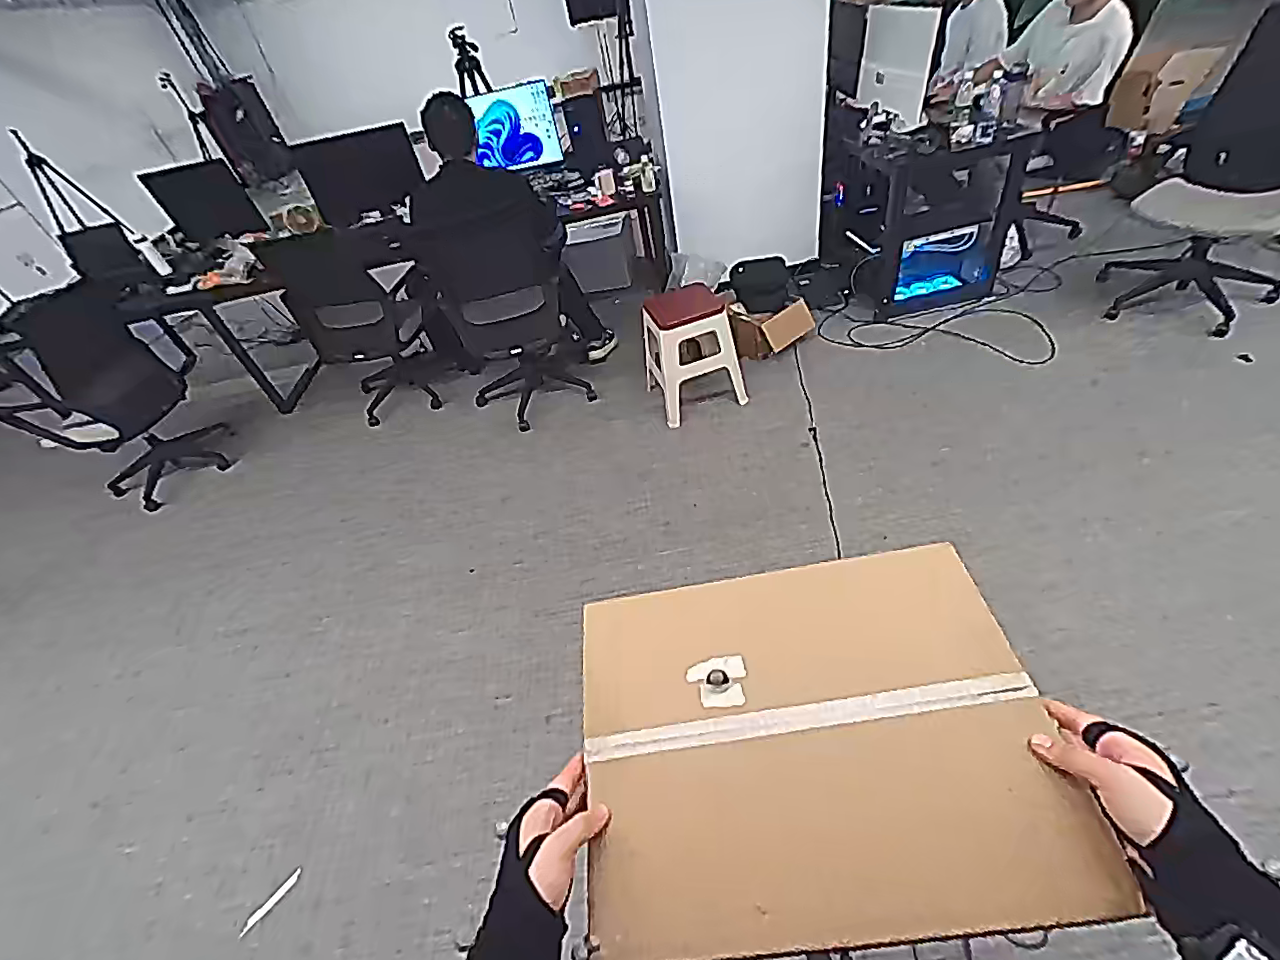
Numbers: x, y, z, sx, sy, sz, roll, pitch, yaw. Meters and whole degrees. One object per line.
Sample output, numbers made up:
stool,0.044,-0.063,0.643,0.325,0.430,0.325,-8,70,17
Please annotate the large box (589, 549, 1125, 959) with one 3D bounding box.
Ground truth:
large box,0.180,0.322,0.616,0.408,0.320,0.320,-12,47,6
